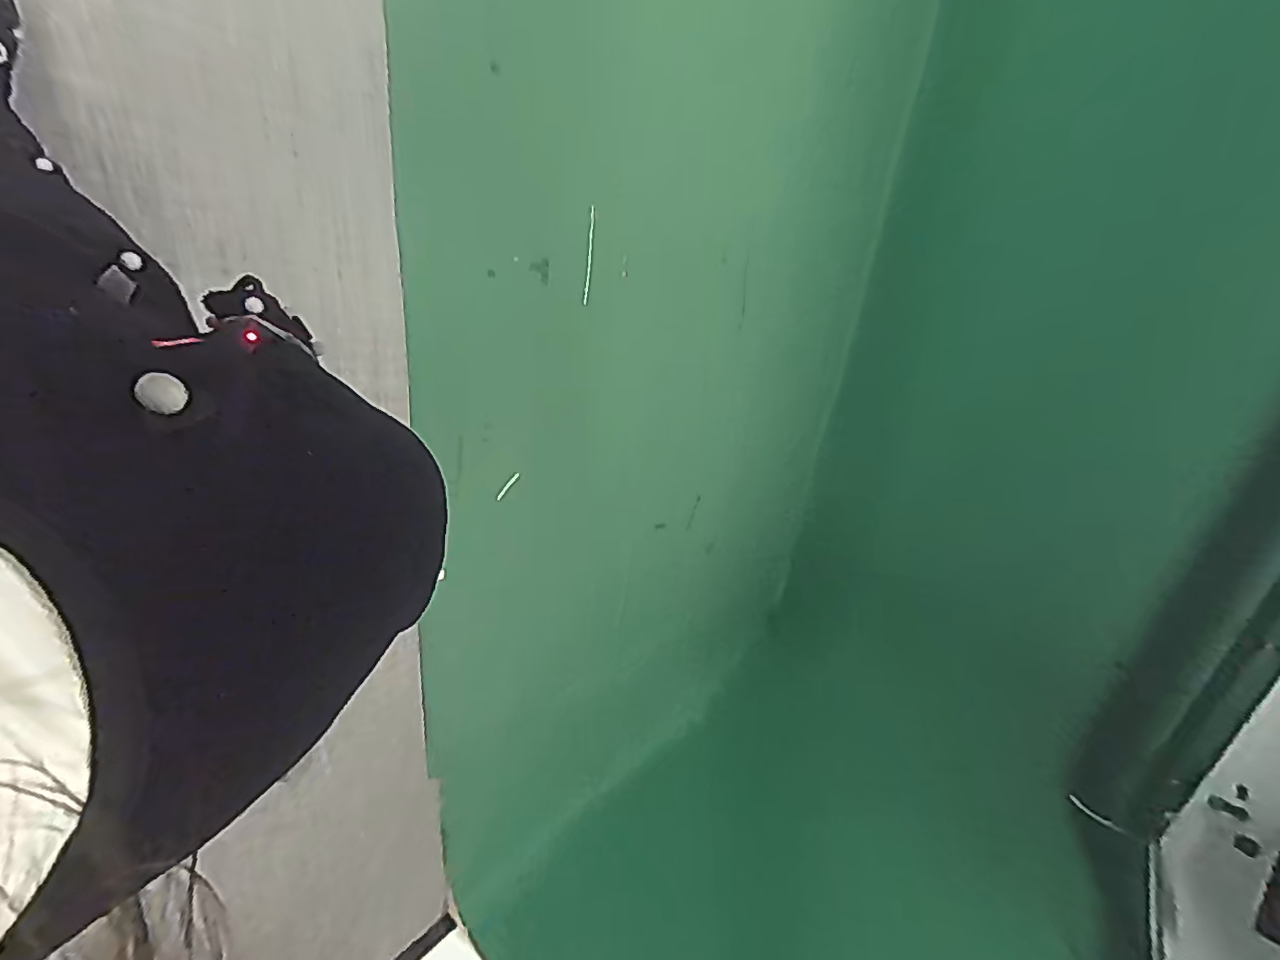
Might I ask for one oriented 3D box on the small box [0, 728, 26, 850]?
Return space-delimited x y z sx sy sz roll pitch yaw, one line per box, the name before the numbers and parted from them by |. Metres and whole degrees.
small box | -1.256 0.582 0.980 0.168 0.176 0.179 -10 118 -49
